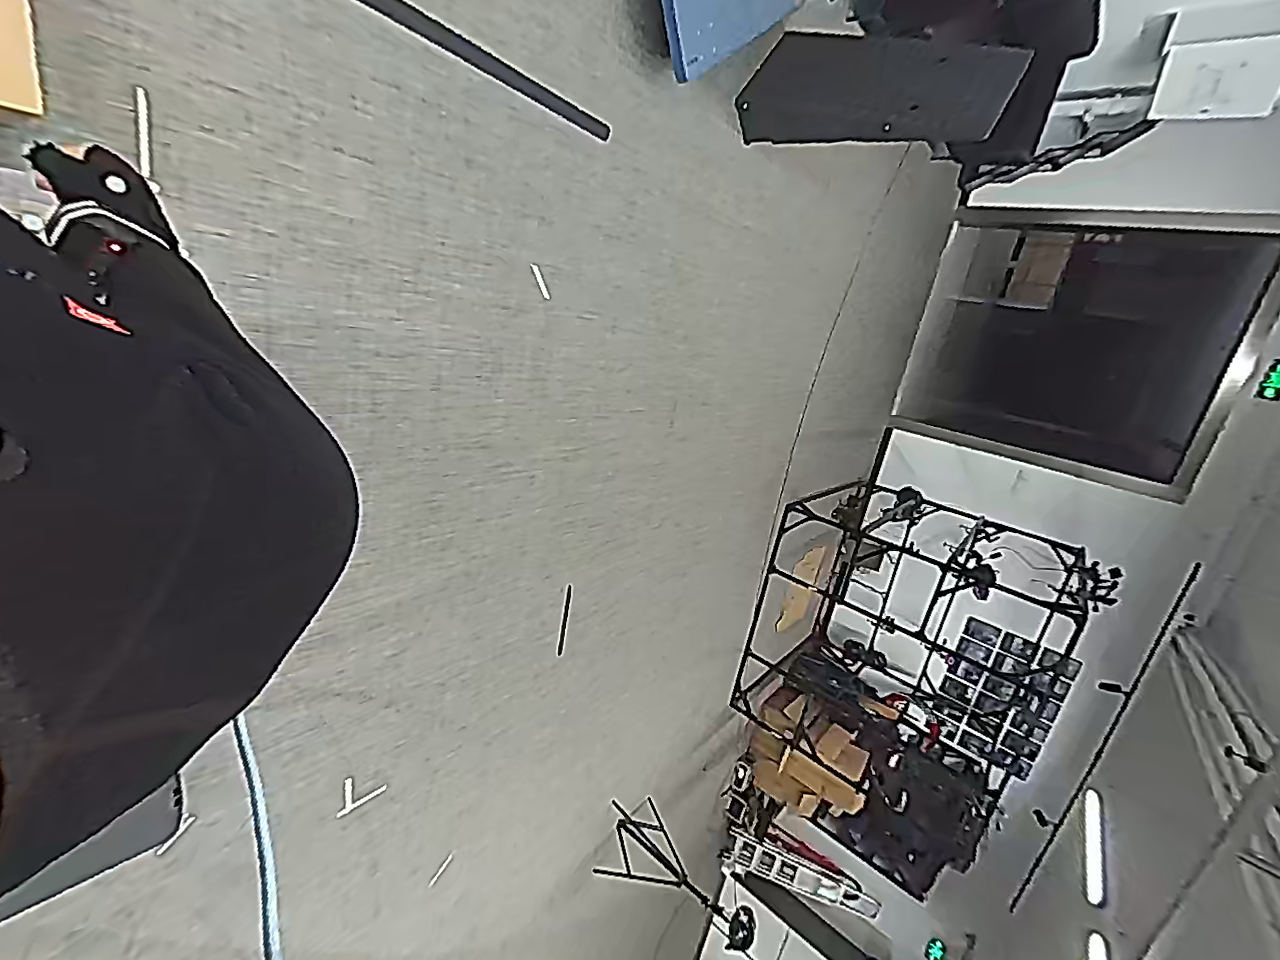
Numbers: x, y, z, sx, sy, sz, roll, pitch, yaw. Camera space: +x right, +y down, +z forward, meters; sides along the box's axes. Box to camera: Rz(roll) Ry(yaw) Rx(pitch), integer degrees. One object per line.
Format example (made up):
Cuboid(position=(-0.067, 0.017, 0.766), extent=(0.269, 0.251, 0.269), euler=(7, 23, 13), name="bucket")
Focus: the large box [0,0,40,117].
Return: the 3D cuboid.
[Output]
Cuboid(position=(-1.041, -0.669, 0.624), extent=(0.408, 0.320, 0.320), euler=(-14, 120, -52), name="large box")
